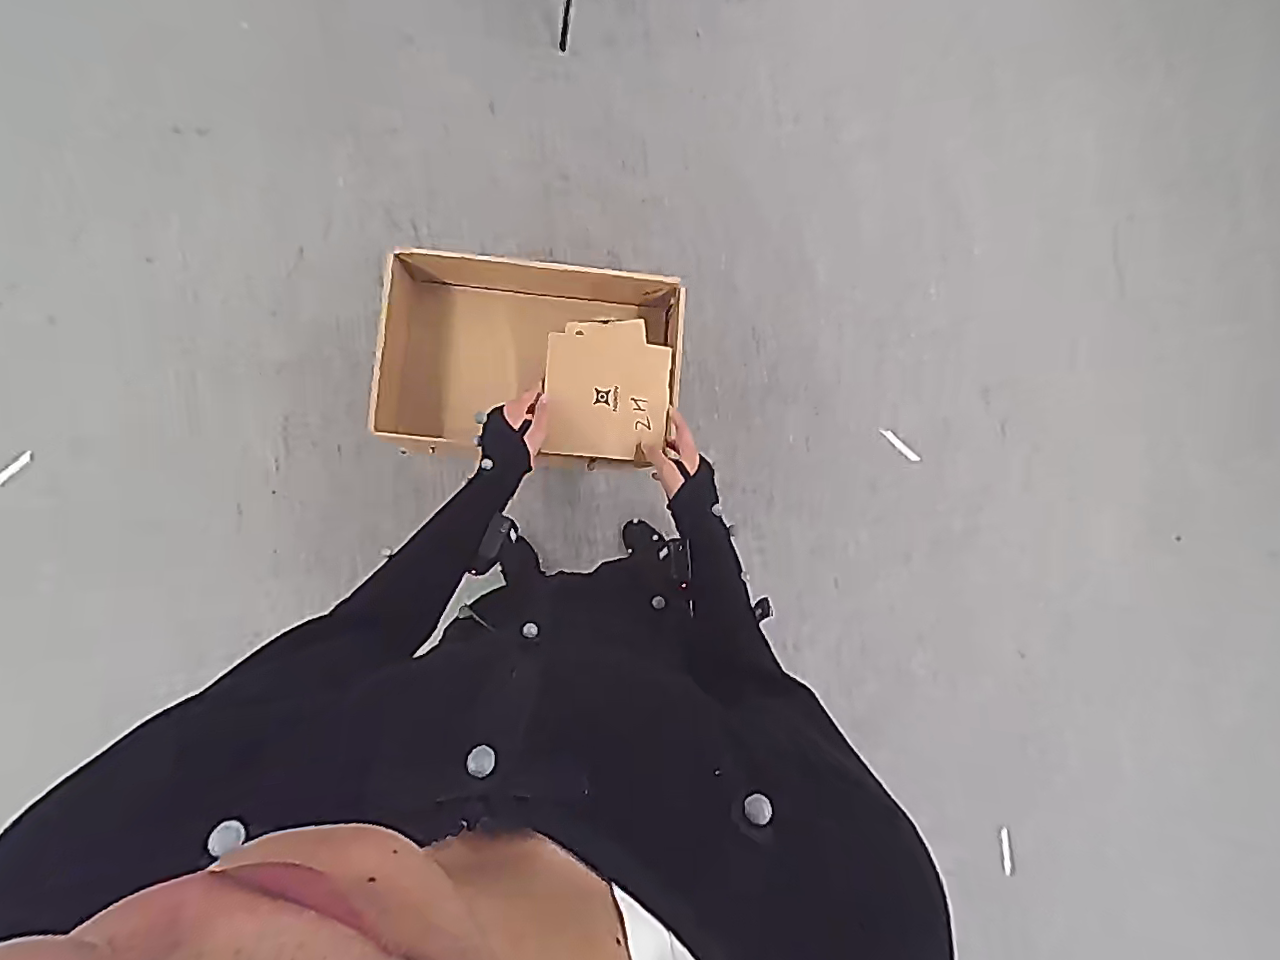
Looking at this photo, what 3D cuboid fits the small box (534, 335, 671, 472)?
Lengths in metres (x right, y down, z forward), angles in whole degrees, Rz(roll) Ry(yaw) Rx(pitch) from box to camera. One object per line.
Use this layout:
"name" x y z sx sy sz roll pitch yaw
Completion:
"small box" -0.063 -0.103 0.808 0.179 0.176 0.168 4 87 -13
